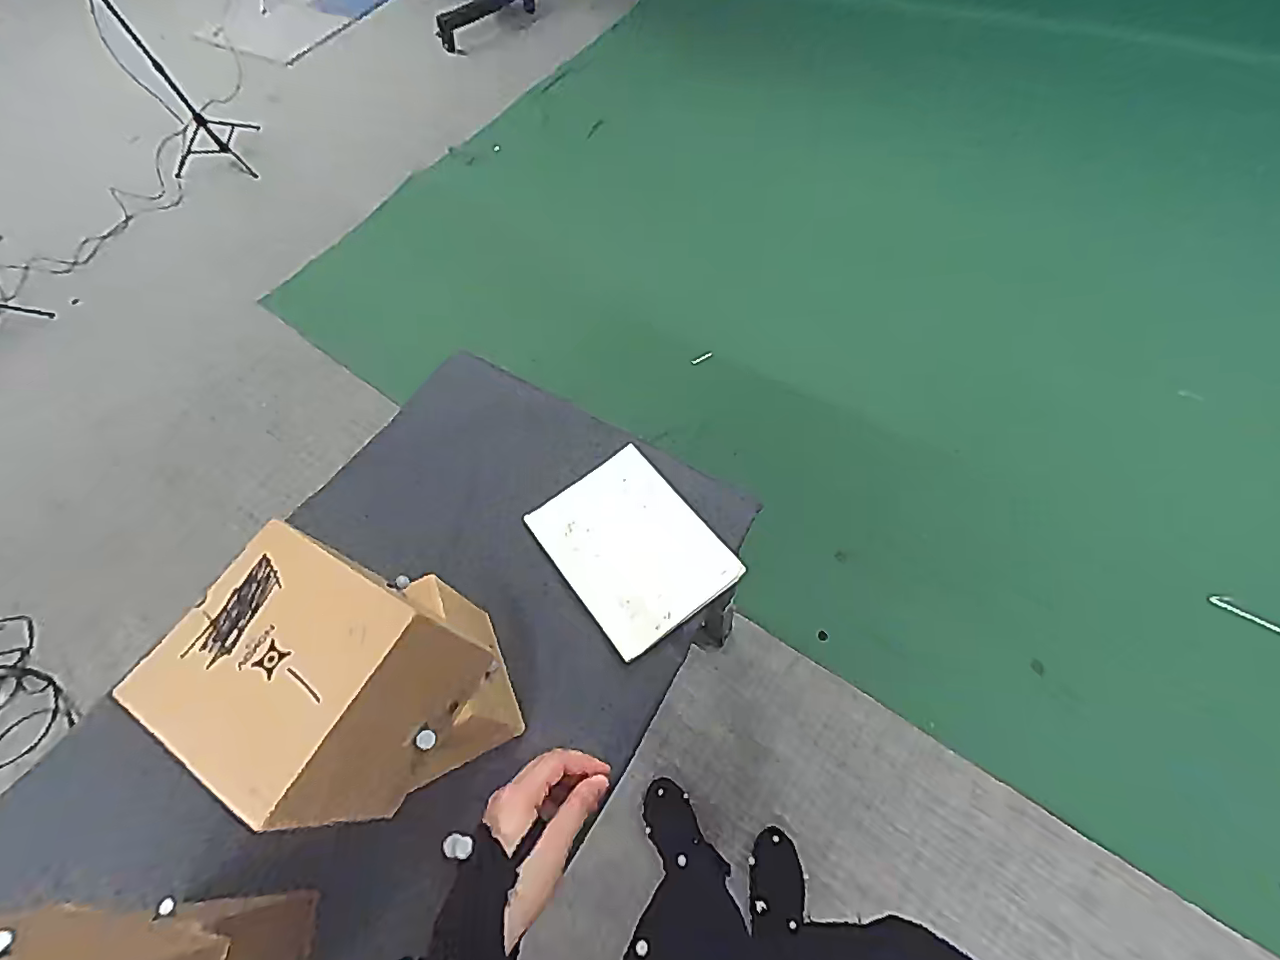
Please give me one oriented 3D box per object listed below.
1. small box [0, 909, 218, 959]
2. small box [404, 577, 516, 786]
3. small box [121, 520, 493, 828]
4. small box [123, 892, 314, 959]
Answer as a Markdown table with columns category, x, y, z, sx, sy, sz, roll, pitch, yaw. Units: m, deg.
| category | x | y | z | sx | sy | sz | roll | pitch | yaw |
| --- | --- | --- | --- | --- | --- | --- | --- | --- | --- |
| small box | -0.449 | 0.416 | 0.363 | 0.179 | 0.176 | 0.168 | 3 | 61 | 10 |
| small box | -0.258 | 0.240 | 0.621 | 0.179 | 0.176 | 0.168 | -26 | 61 | -5 |
| small box | -0.265 | 0.167 | 0.472 | 0.179 | 0.176 | 0.168 | 25 | 69 | 20 |
| small box | -0.445 | 0.503 | 0.502 | 0.179 | 0.176 | 0.168 | -8 | 60 | 4 |
